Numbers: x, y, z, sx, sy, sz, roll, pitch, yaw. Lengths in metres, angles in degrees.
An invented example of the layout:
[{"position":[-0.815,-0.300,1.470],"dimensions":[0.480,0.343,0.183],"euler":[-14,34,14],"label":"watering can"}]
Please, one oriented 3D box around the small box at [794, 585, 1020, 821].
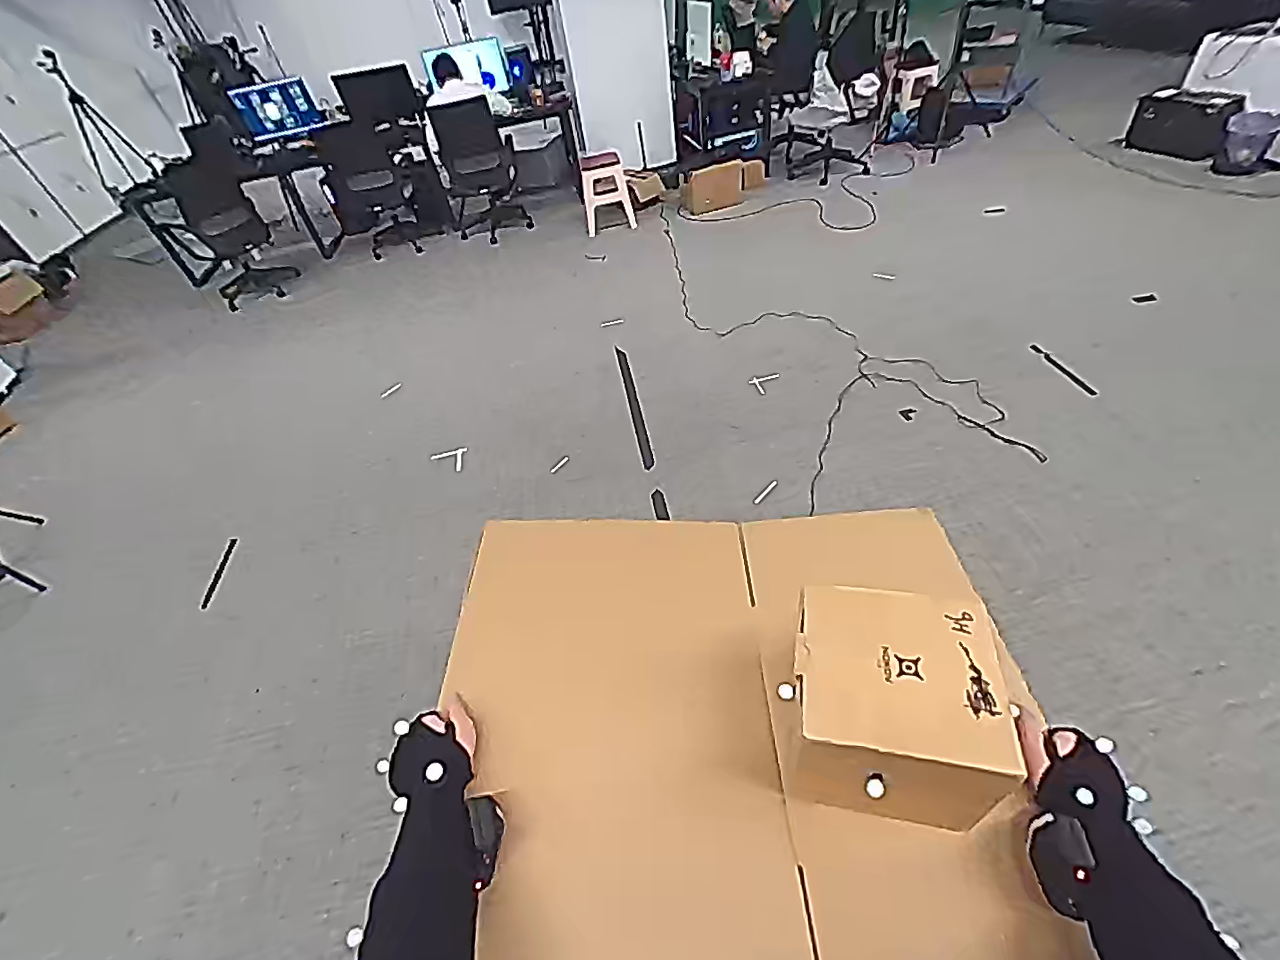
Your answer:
[{"position":[0.256,0.232,0.566],"dimensions":[0.179,0.176,0.168],"euler":[3,46,15],"label":"small box"}]
